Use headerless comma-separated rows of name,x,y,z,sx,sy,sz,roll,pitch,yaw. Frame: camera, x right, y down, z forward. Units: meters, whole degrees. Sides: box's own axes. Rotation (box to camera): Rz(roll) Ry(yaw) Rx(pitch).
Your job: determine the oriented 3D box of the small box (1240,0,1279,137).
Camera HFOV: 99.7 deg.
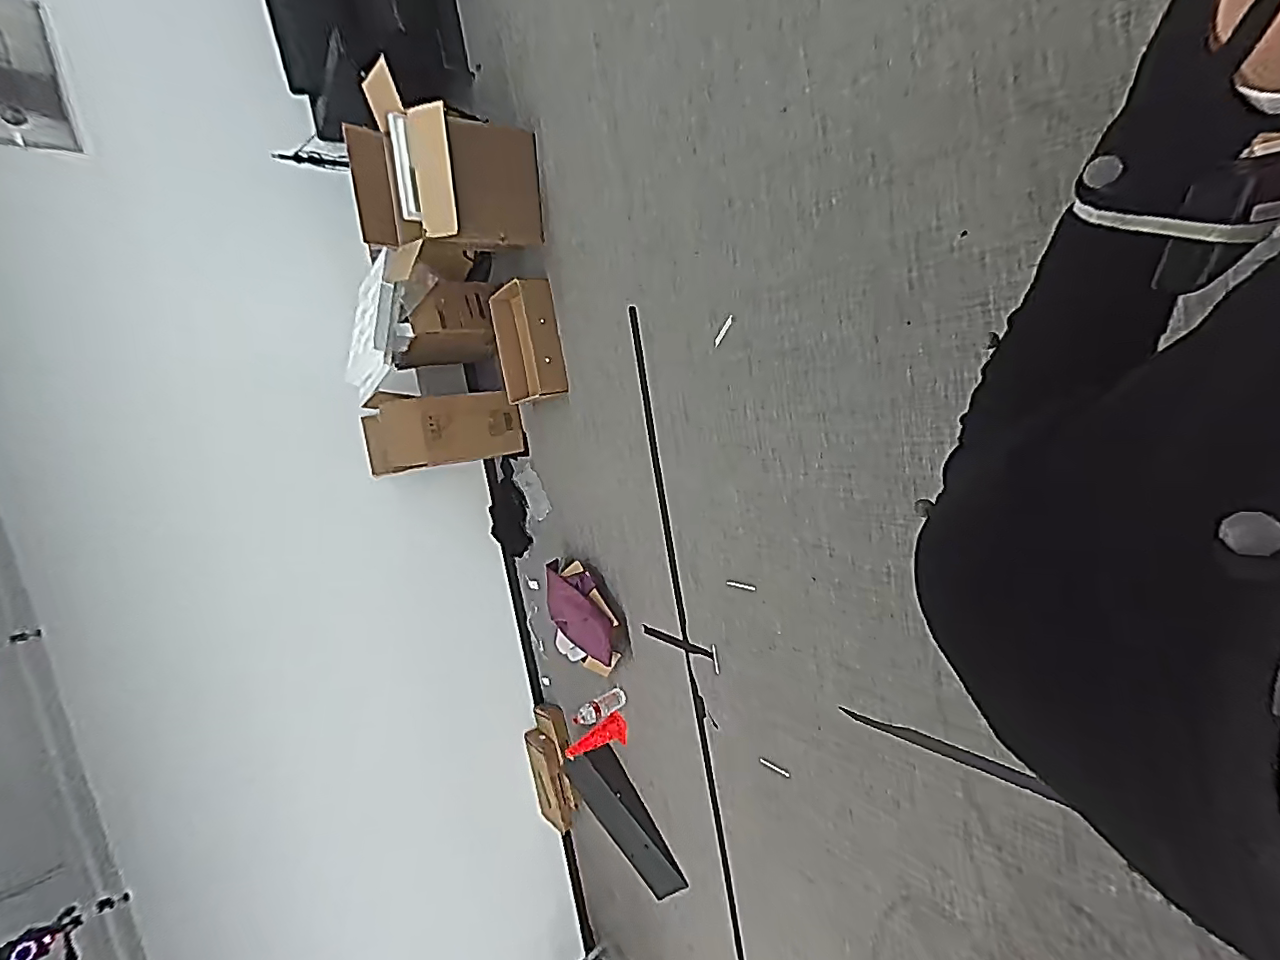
small box,0.737,-0.456,0.523,0.179,0.176,0.168,14,115,52
